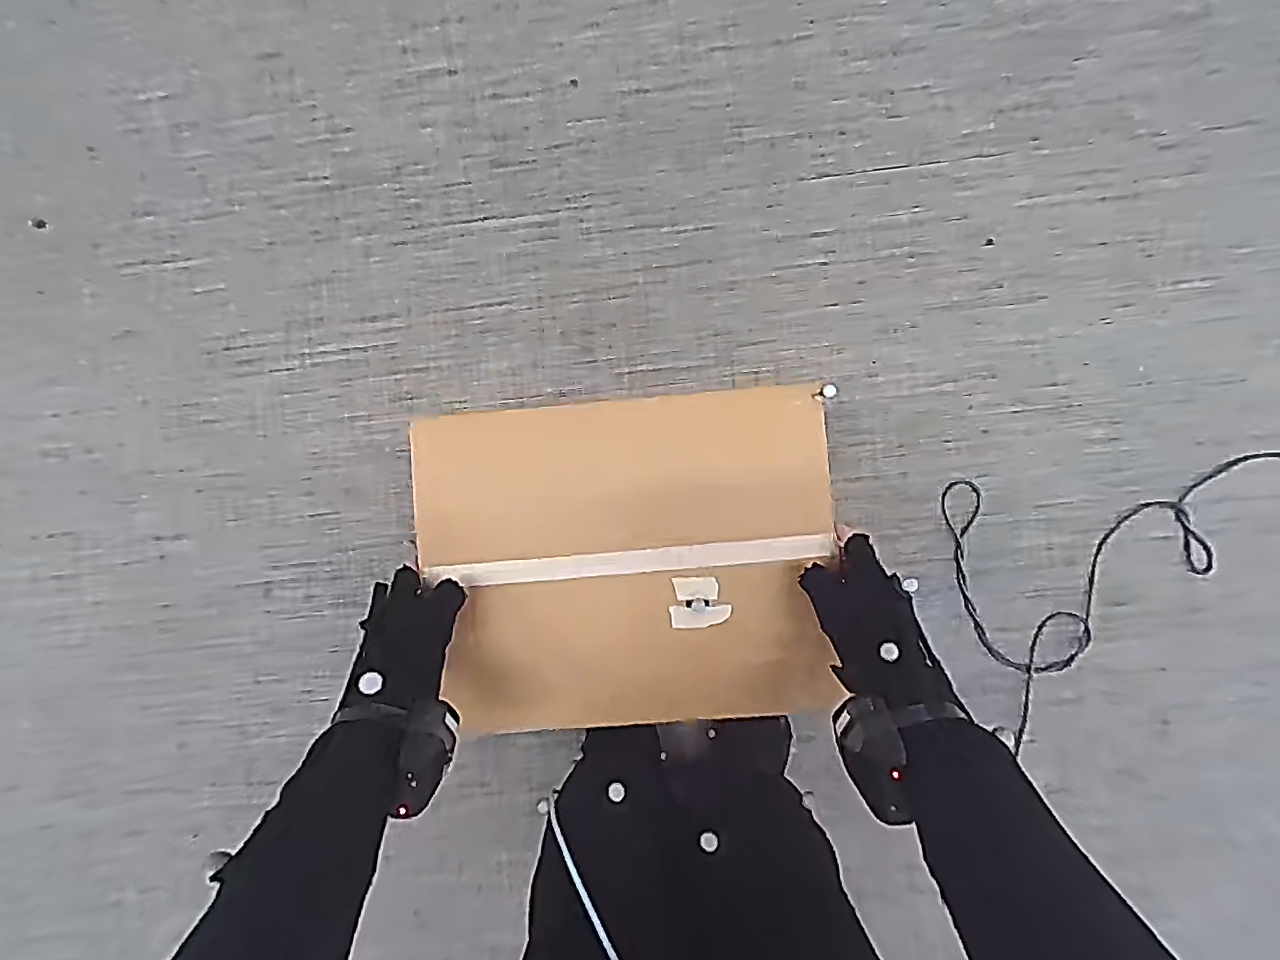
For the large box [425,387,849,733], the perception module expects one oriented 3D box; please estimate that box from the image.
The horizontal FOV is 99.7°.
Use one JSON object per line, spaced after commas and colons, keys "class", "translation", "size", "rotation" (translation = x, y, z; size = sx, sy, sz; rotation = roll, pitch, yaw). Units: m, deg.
{"class": "large box", "translation": [-0.004, 0.085, 0.684], "size": [0.408, 0.320, 0.320], "rotation": [-5, 89, 2]}
